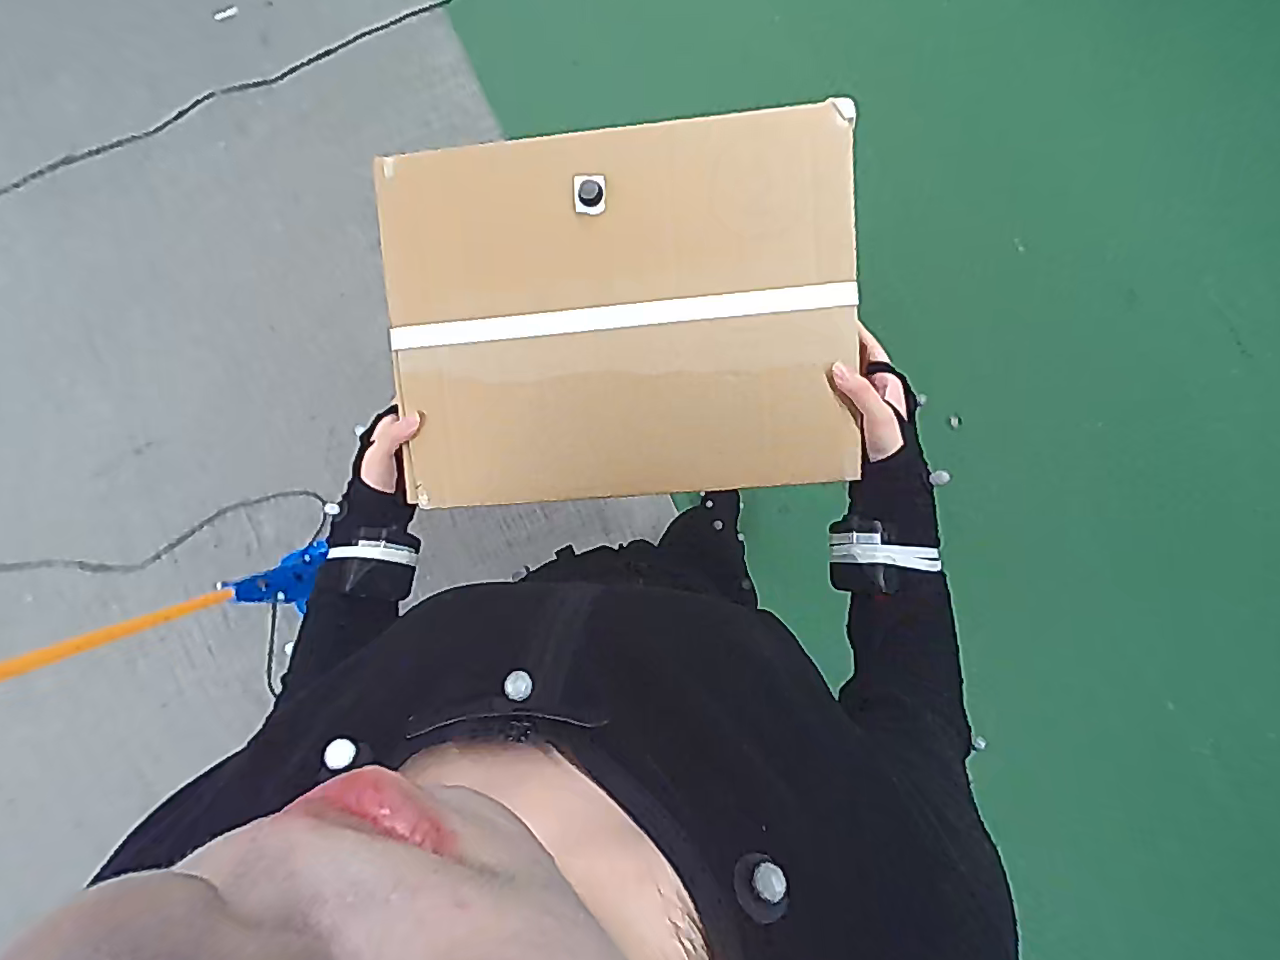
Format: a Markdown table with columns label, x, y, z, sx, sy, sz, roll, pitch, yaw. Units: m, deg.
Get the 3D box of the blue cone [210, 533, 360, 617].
| label | x | y | z | sx | sy | sz | roll | pitch | yaw |
| --- | --- | --- | --- | --- | --- | --- | --- | --- | --- |
| blue cone | -0.870 | 0.247 | 1.305 | 0.192 | 0.380 | 0.193 | -27 | 88 | -3 |
